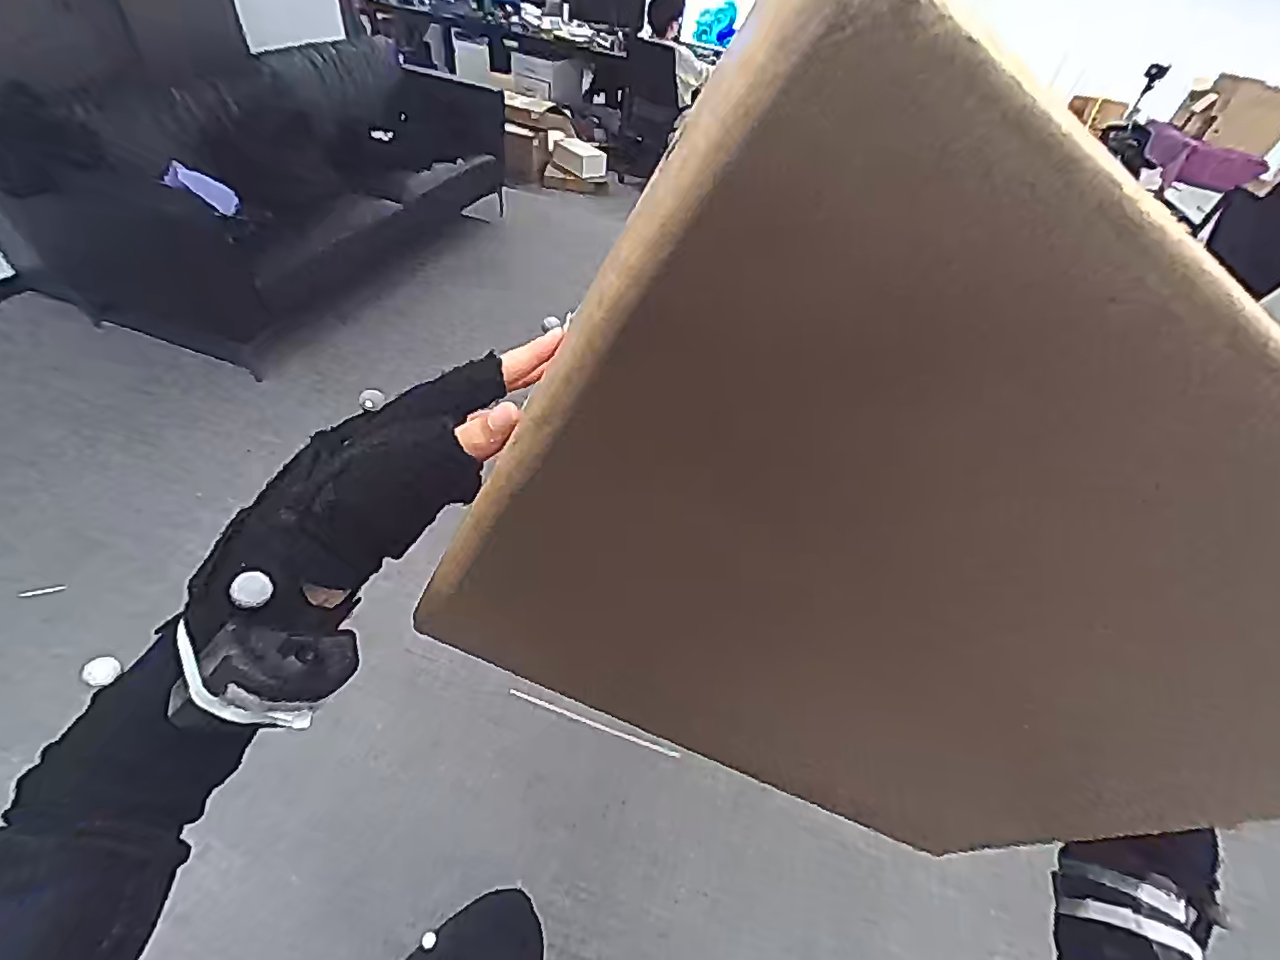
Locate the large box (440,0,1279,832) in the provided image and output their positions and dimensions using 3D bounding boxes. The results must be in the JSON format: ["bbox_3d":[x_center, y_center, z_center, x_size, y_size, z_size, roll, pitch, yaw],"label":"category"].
[{"bbox_3d":[0.151,-0.015,0.359,0.408,0.320,0.320,31,43,-15],"label":"large box"}]
